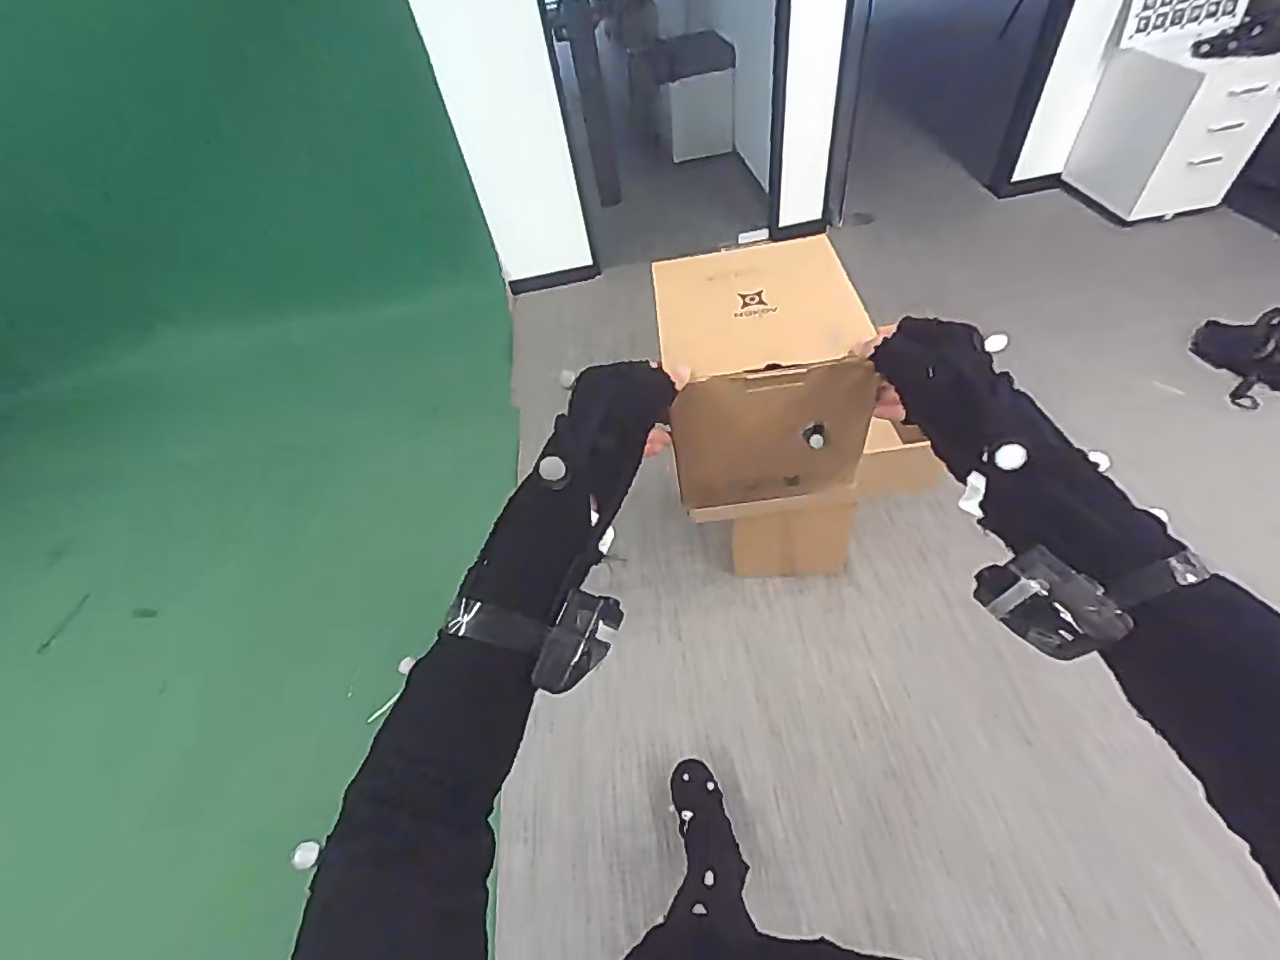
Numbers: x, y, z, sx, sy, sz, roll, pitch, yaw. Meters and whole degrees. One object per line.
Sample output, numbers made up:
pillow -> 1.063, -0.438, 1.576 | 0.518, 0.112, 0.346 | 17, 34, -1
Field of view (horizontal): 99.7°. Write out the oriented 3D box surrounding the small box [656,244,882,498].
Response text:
small box -> 0.110, -0.096, 0.523 | 0.168, 0.176, 0.179 | -7, 49, 4
